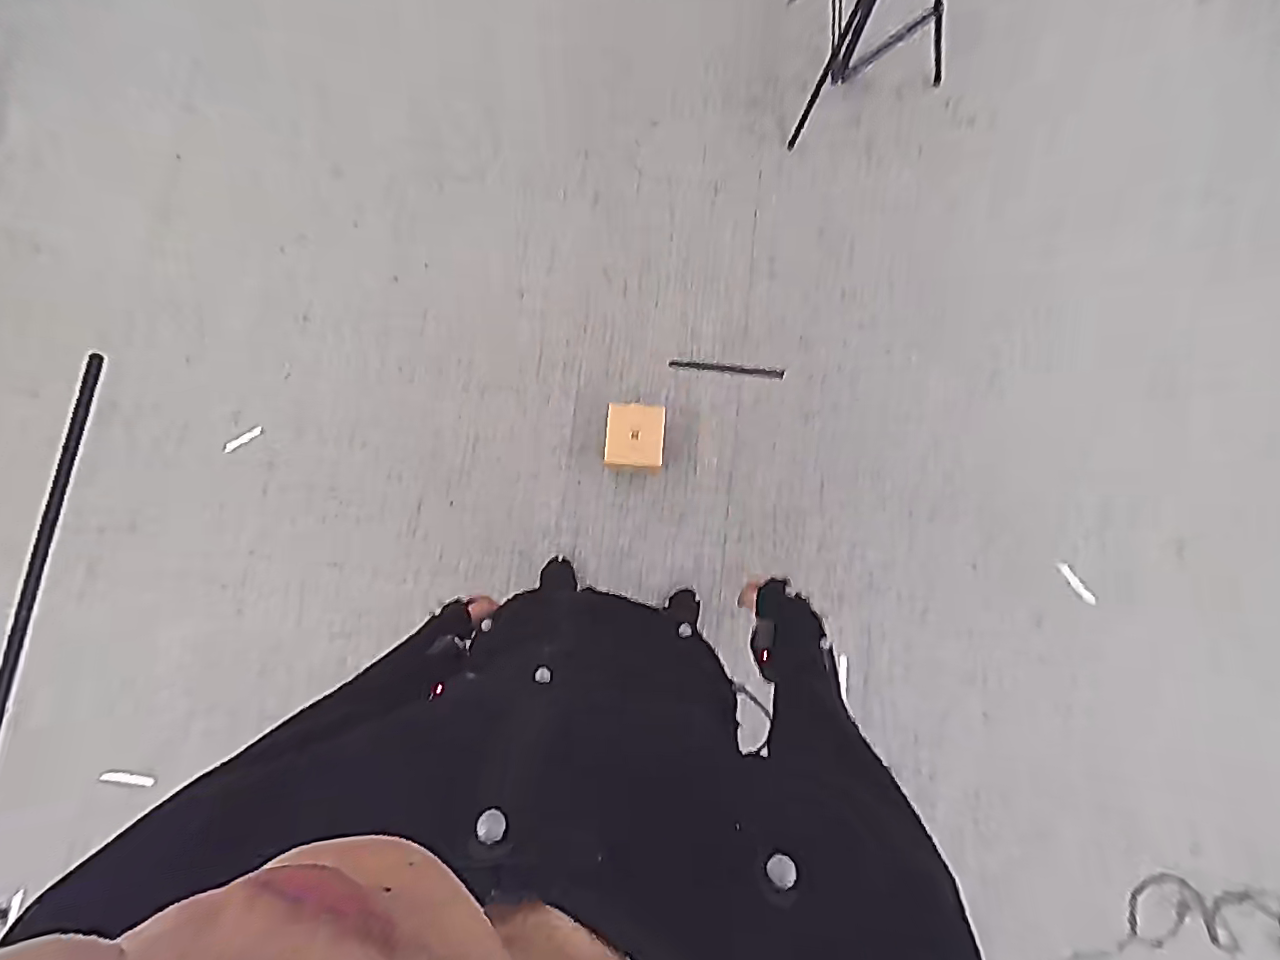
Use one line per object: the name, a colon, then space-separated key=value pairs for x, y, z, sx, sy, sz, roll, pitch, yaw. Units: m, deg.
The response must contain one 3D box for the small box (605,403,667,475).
small box: x=-0.011 y=-0.118 z=1.617 sx=0.168 sy=0.176 sz=0.179 roll=4 pitch=82 yaw=1
